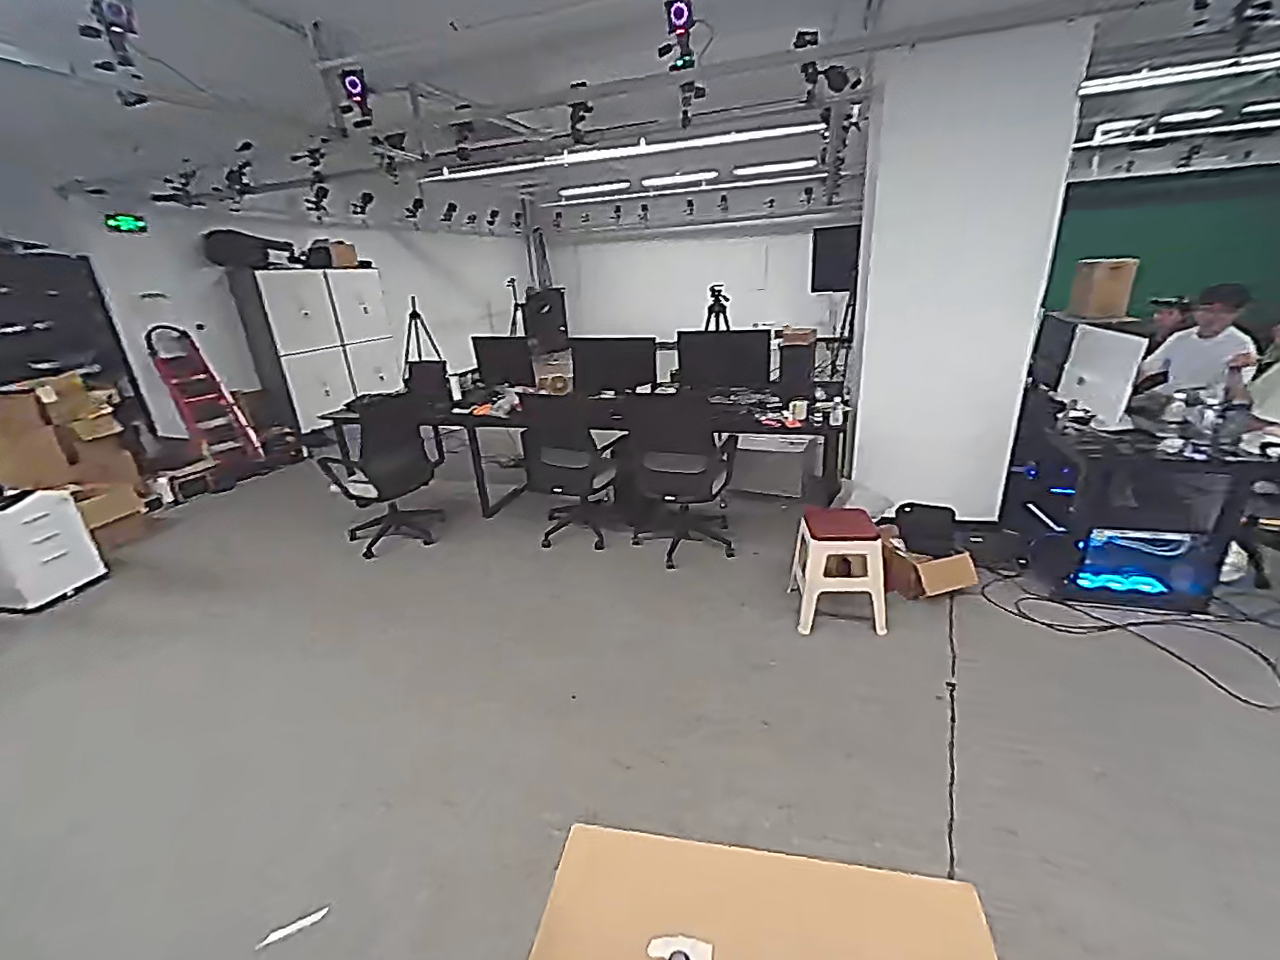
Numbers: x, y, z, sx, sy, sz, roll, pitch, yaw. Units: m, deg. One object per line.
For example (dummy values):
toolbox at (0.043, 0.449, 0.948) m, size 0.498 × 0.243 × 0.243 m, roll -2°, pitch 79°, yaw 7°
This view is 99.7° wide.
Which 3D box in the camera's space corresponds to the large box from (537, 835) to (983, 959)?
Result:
large box at (0.108, 0.594, 0.498) m, size 0.408 × 0.320 × 0.320 m, roll -1°, pitch 25°, yaw 12°
